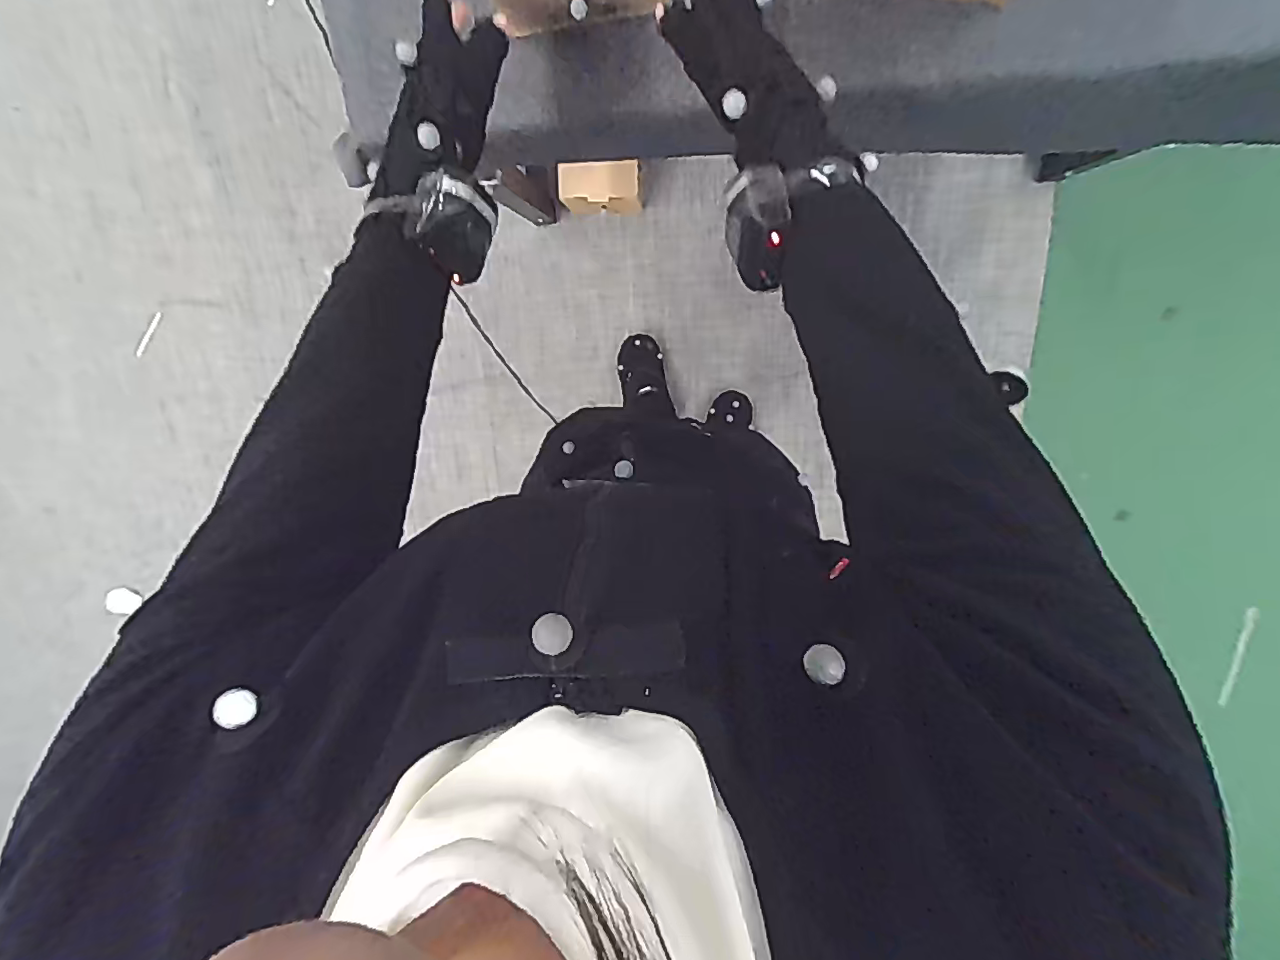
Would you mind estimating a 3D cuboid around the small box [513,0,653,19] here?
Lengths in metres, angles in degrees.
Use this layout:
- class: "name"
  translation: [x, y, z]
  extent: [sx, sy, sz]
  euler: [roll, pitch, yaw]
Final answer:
- class: "small box"
  translation: [-0.060, -0.530, 0.438]
  extent: [0.168, 0.176, 0.179]
  euler: [-5, 107, 5]
